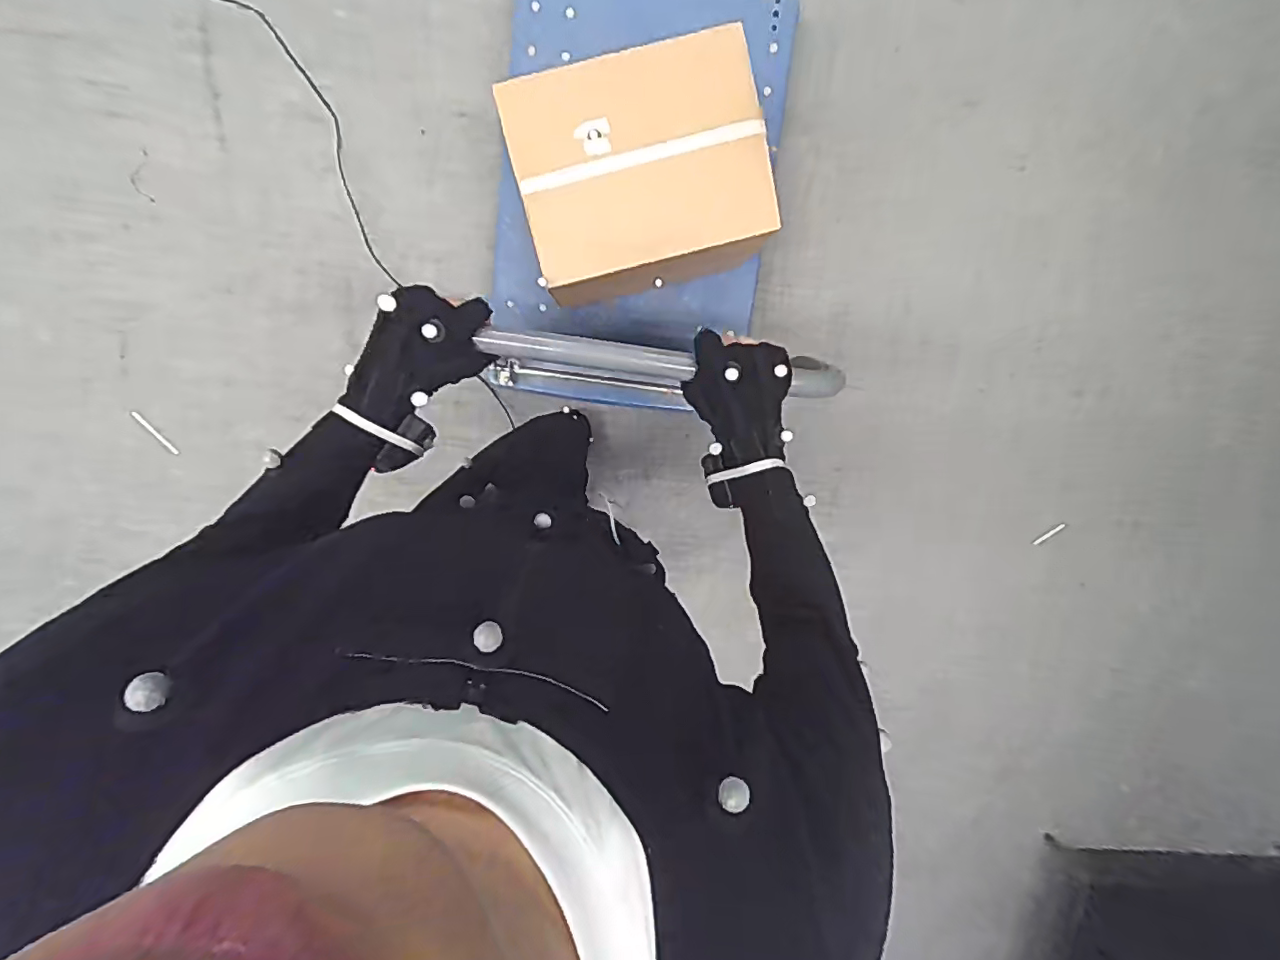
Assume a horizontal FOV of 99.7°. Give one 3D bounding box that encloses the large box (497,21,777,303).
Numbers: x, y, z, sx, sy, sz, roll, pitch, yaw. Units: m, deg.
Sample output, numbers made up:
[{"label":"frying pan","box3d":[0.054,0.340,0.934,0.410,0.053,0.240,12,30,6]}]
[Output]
[{"label":"large box","box3d":[-0.003,-0.552,1.020,0.408,0.320,0.320,-15,101,1]}]
